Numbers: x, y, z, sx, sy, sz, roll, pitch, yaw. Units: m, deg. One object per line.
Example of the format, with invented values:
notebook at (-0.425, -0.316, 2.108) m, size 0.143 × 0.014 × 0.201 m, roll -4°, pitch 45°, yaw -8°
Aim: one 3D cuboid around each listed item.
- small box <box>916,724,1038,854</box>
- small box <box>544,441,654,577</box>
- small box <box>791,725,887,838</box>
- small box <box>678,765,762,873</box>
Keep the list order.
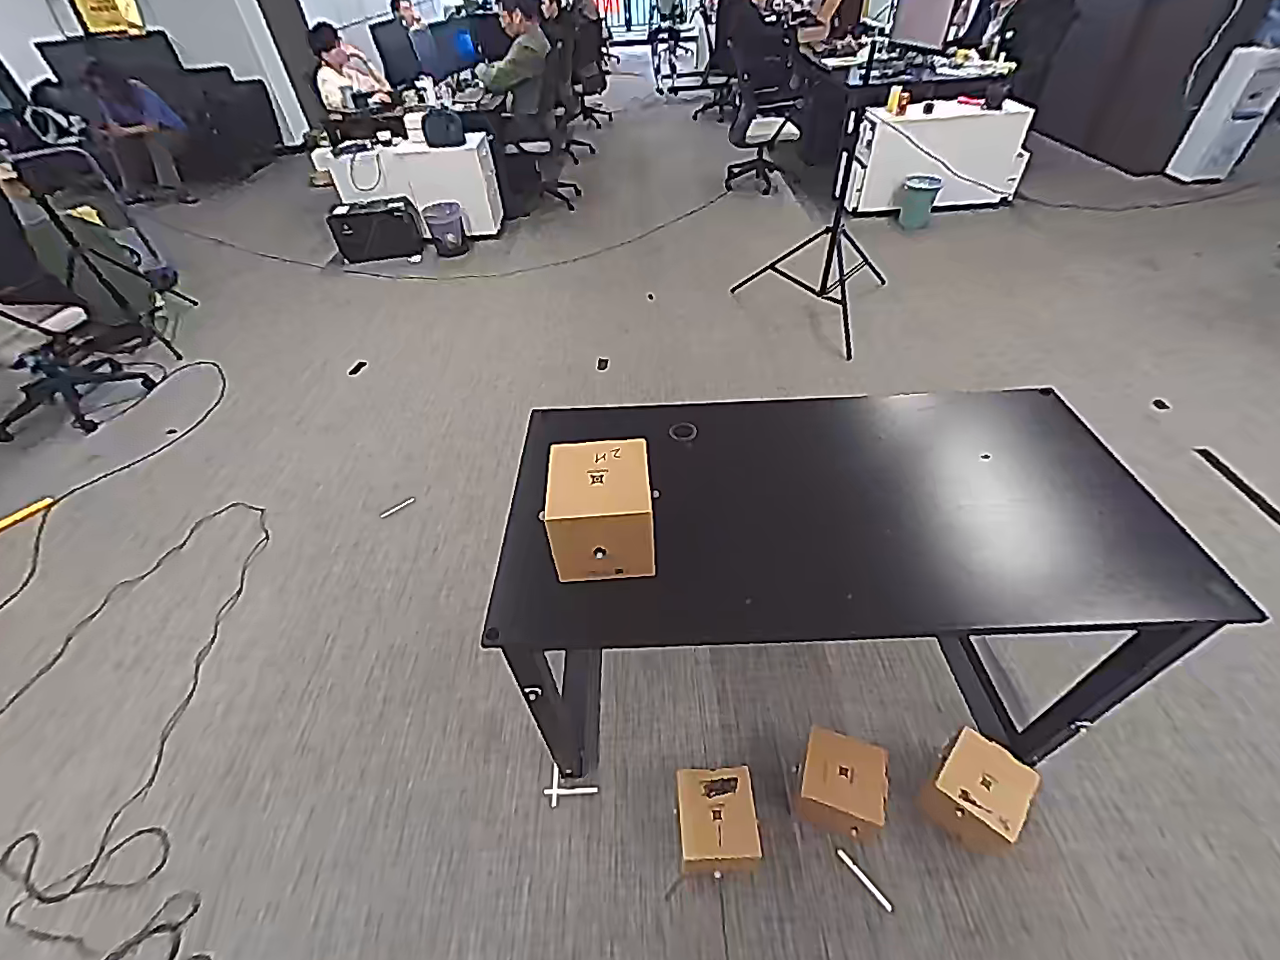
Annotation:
small box at (0.768, 0.713, 1.246) m, size 0.168 × 0.176 × 0.179 m, roll 31°, pitch 55°, yaw 31°
small box at (-0.065, 0.055, 0.936) m, size 0.168 × 0.176 × 0.179 m, roll -4°, pitch 44°, yaw -1°
small box at (0.465, 0.714, 1.273) m, size 0.179 × 0.176 × 0.168 m, roll 12°, pitch 46°, yaw 17°
small box at (0.173, 0.774, 1.233) m, size 0.168 × 0.176 × 0.179 m, roll -4°, pitch 46°, yaw 1°
